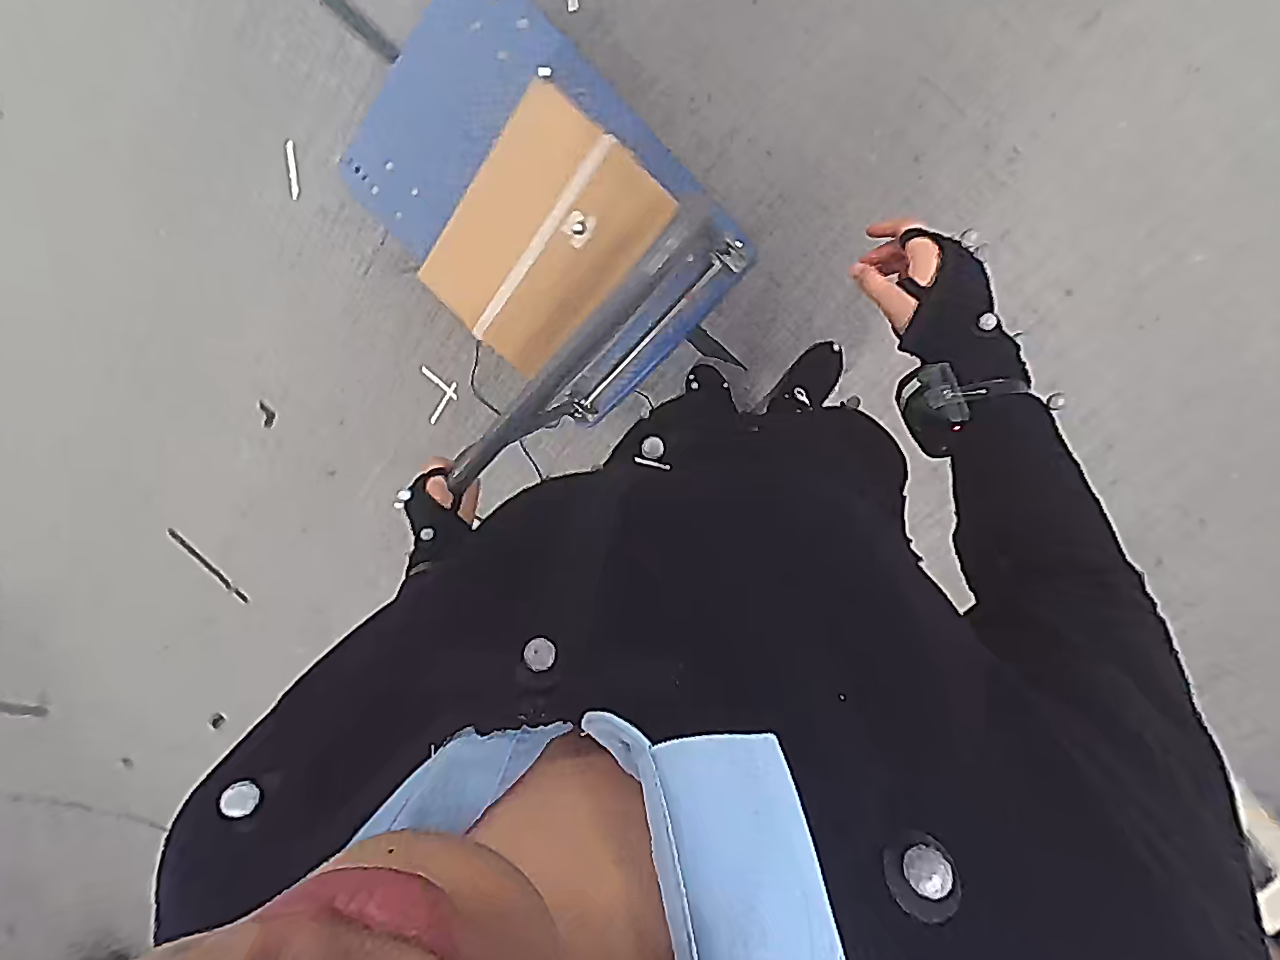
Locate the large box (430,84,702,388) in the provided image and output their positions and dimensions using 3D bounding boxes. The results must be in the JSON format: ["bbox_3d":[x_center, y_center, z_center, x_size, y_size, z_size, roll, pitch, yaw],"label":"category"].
[{"bbox_3d":[-0.130,-0.447,1.089,0.320,0.320,0.408,43,110,-2],"label":"large box"}]
